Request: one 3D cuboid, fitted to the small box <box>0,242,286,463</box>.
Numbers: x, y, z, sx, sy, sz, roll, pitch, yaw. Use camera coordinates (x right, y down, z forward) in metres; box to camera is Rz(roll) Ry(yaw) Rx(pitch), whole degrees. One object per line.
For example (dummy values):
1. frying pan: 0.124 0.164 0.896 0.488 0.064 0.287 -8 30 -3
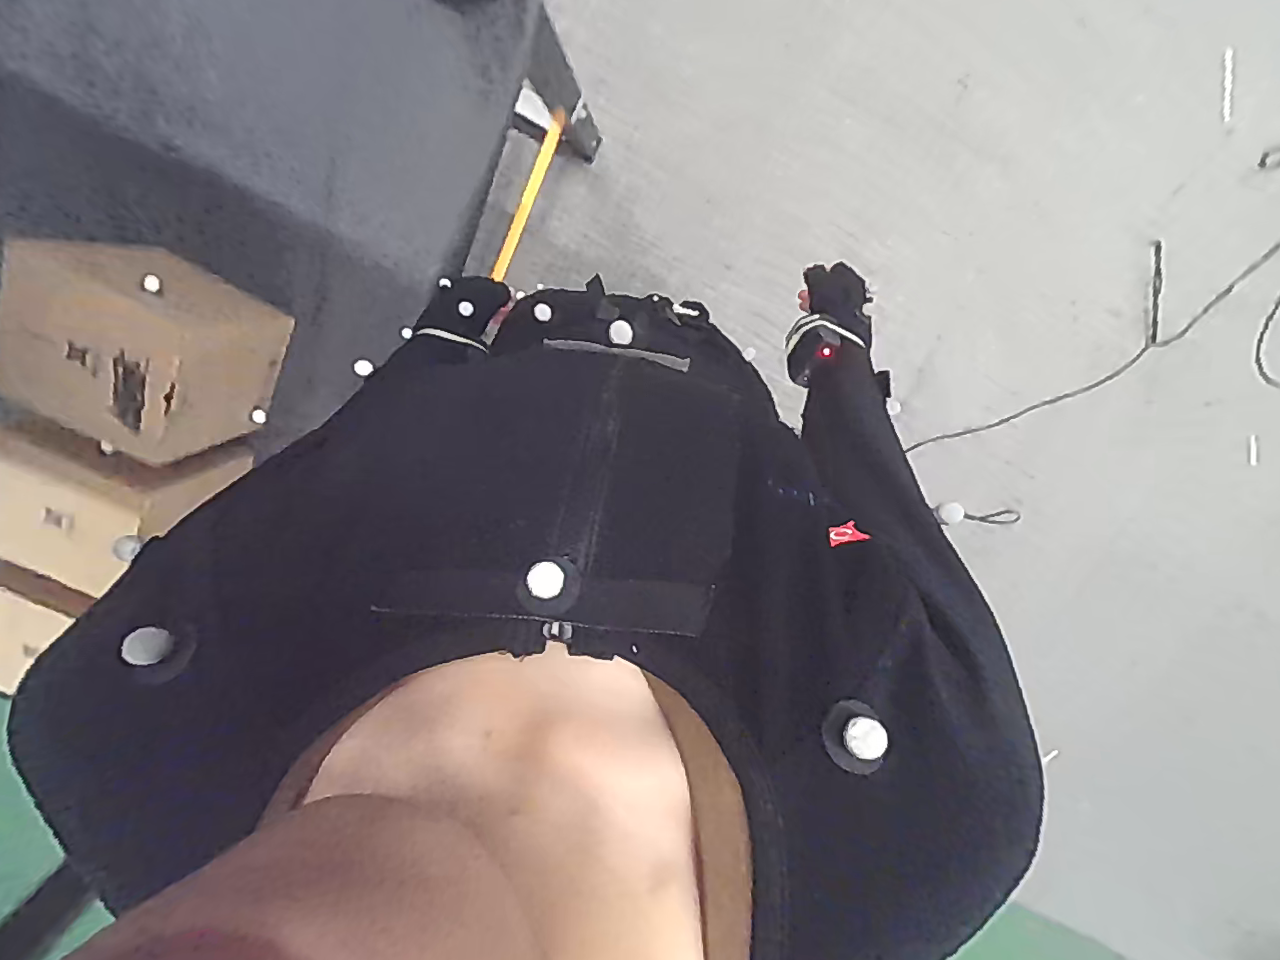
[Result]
1. small box: -0.553 -0.149 0.618 0.179 0.176 0.168 28 109 -7
